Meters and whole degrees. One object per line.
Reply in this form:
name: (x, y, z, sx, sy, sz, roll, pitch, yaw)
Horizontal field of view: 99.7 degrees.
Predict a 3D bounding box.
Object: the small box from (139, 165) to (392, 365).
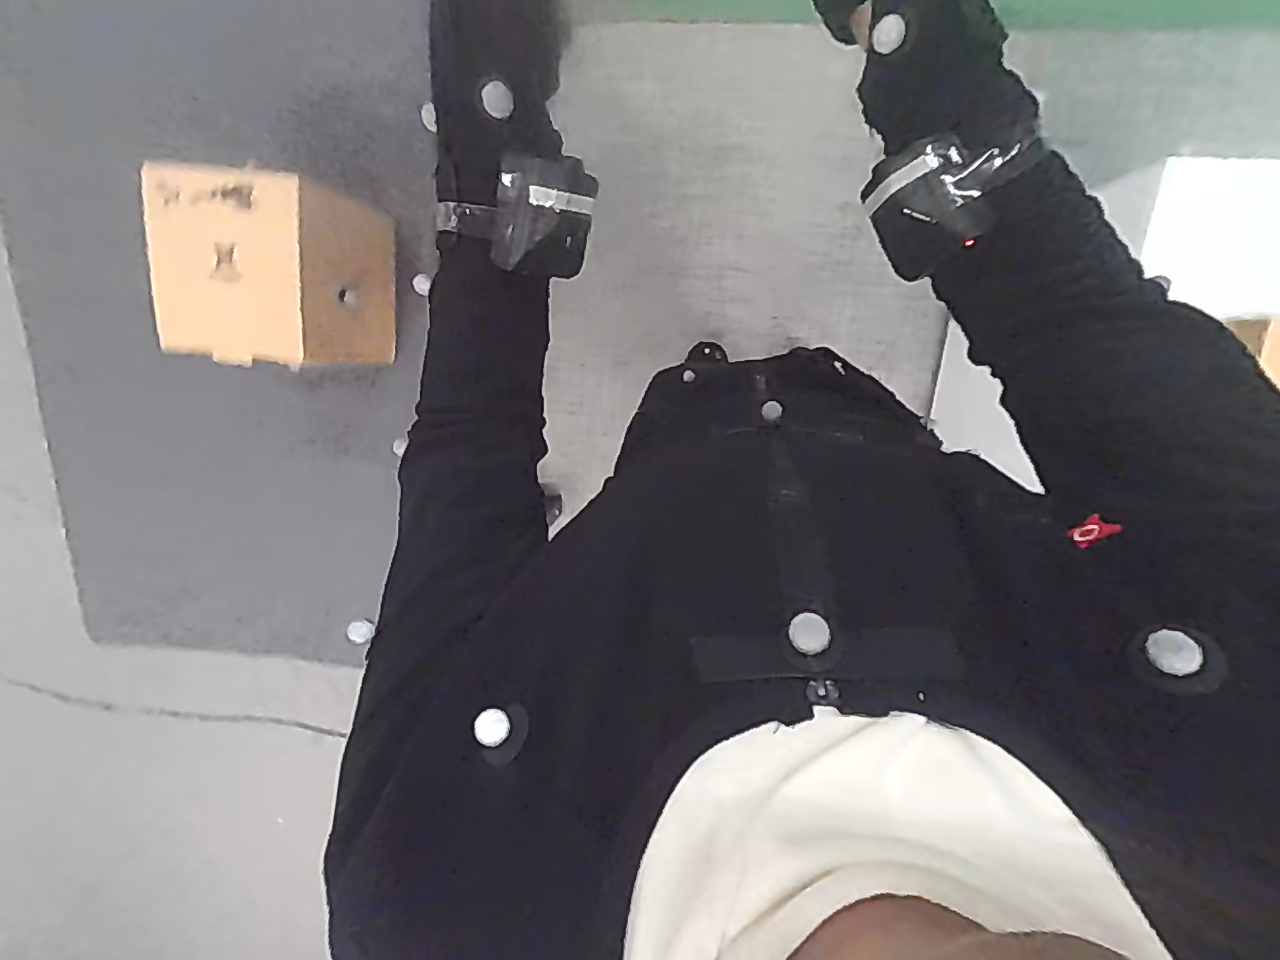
small box: (-0.403, -0.232, 0.614, 0.168, 0.176, 0.179, 7, 105, 6)
